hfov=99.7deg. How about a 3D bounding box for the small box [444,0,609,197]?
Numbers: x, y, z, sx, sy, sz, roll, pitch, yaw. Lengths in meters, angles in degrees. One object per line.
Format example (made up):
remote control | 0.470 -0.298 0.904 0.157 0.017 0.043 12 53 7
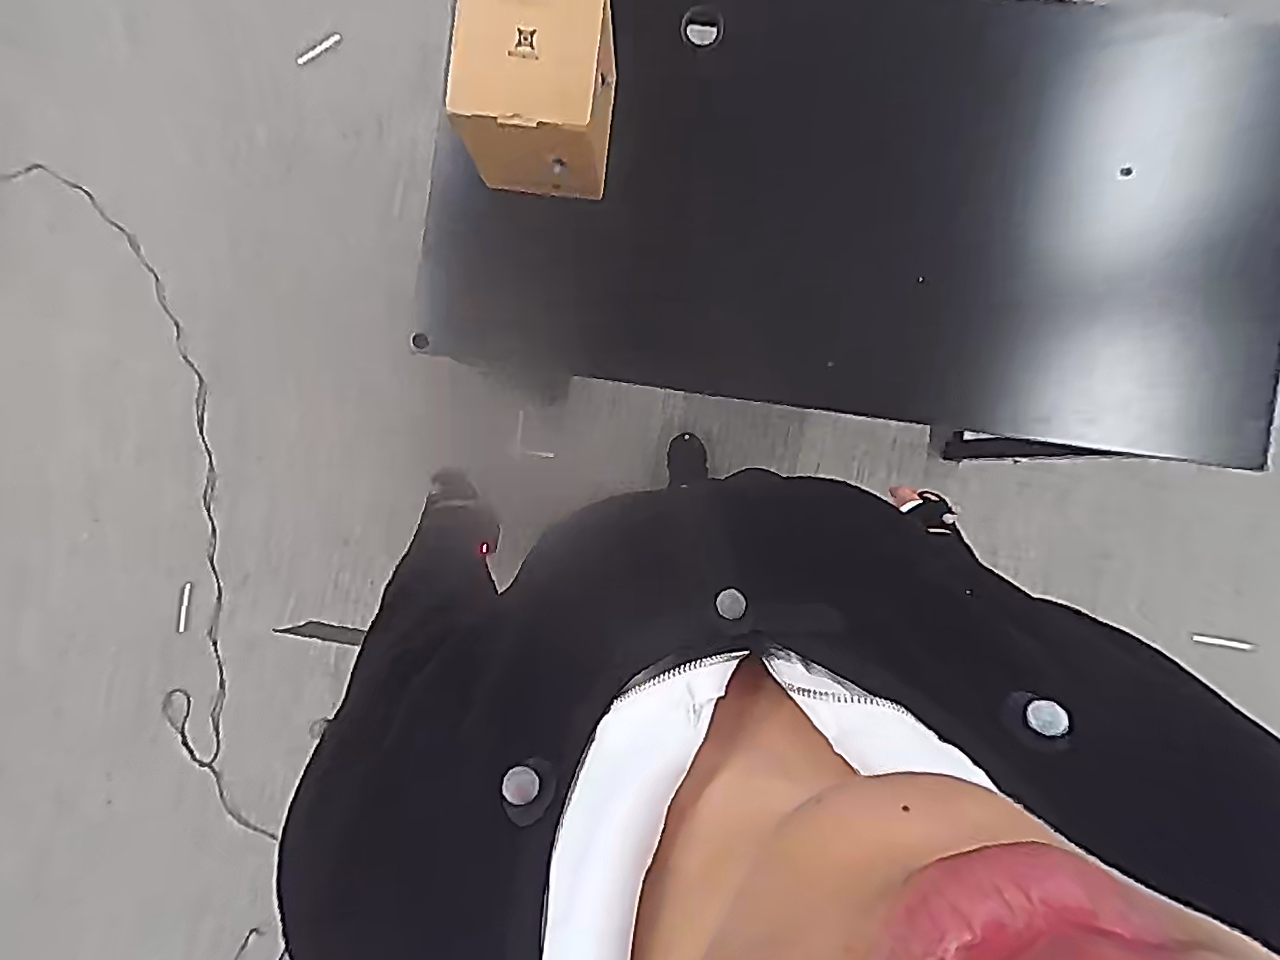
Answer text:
small box | -0.131 -0.490 0.688 0.168 0.176 0.179 6 91 0
